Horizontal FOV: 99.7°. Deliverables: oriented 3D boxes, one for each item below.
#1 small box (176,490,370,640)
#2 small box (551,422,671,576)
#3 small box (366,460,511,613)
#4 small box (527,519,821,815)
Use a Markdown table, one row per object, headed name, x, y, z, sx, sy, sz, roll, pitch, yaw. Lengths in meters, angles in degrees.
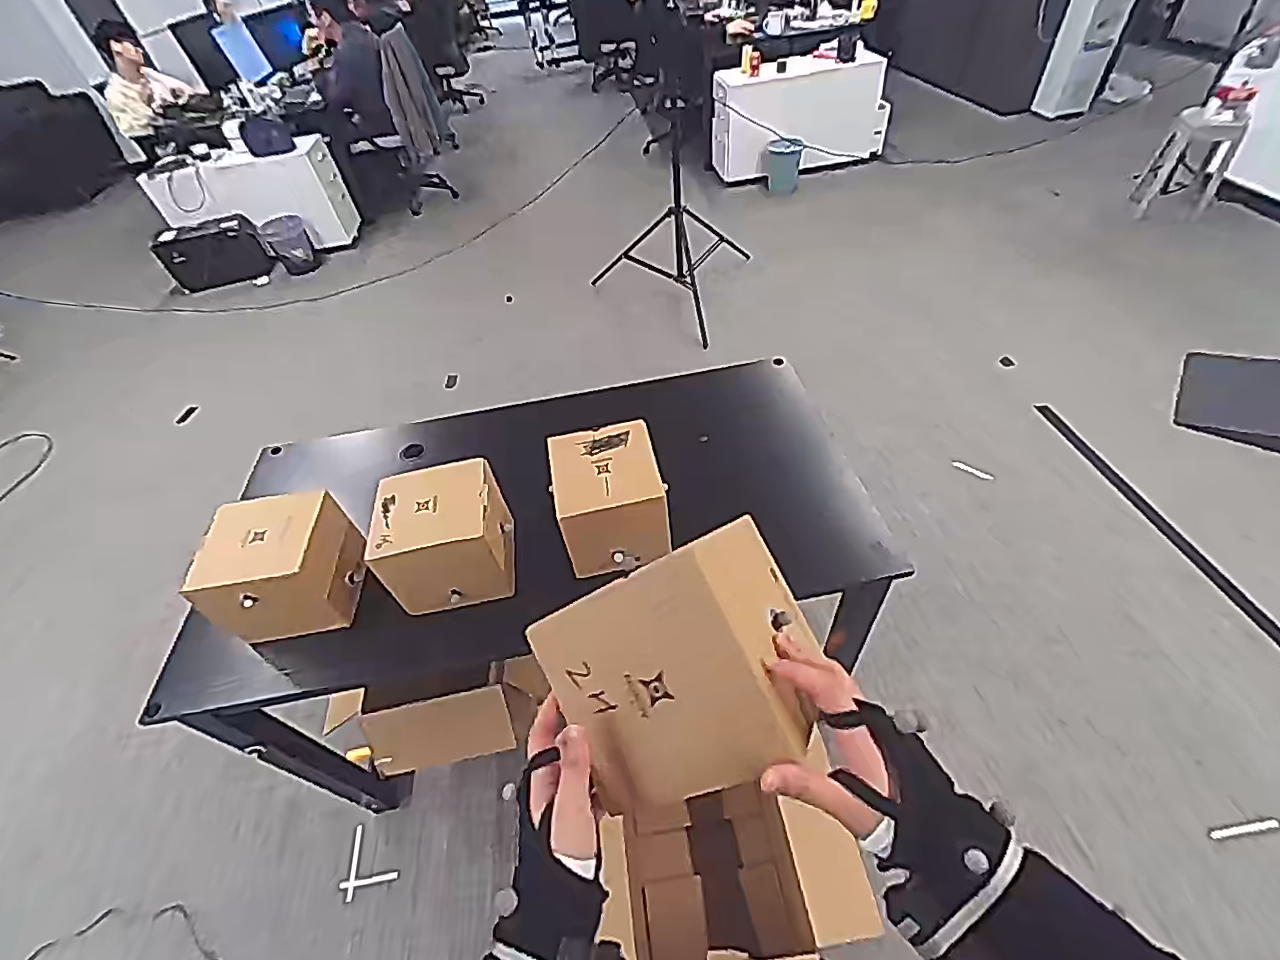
| name | x | y | z | sx | sy | sz | roll | pitch | yaw |
| --- | --- | --- | --- | --- | --- | --- | --- | --- | --- |
| small box | -0.571 | 0.141 | 0.872 | 0.179 | 0.176 | 0.168 | -9 | 48 | -2 |
| small box | -0.047 | 0.032 | 0.901 | 0.168 | 0.176 | 0.179 | -12 | 48 | -3 |
| small box | -0.311 | 0.095 | 0.881 | 0.179 | 0.176 | 0.168 | -11 | 47 | -4 |
| small box | 0.042 | 0.149 | 0.474 | 0.179 | 0.176 | 0.168 | -31 | 81 | 27 |
